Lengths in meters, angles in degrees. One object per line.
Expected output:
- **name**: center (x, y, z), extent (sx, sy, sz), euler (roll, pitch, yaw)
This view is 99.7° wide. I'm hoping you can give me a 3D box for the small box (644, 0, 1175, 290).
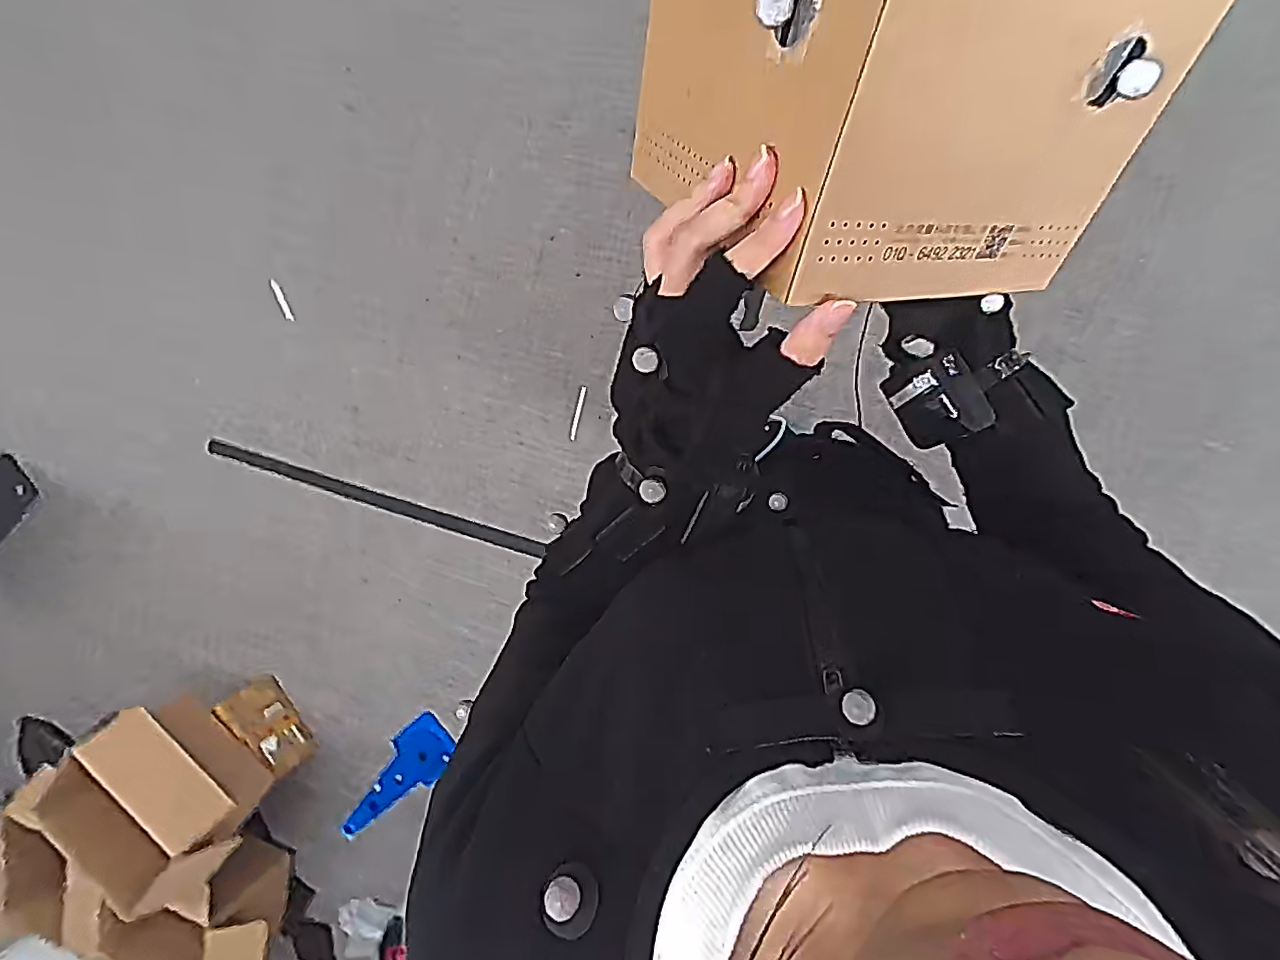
- **small box**: center (0.115, -0.207, 0.270), extent (0.168, 0.179, 0.176), euler (-9, 136, -21)
